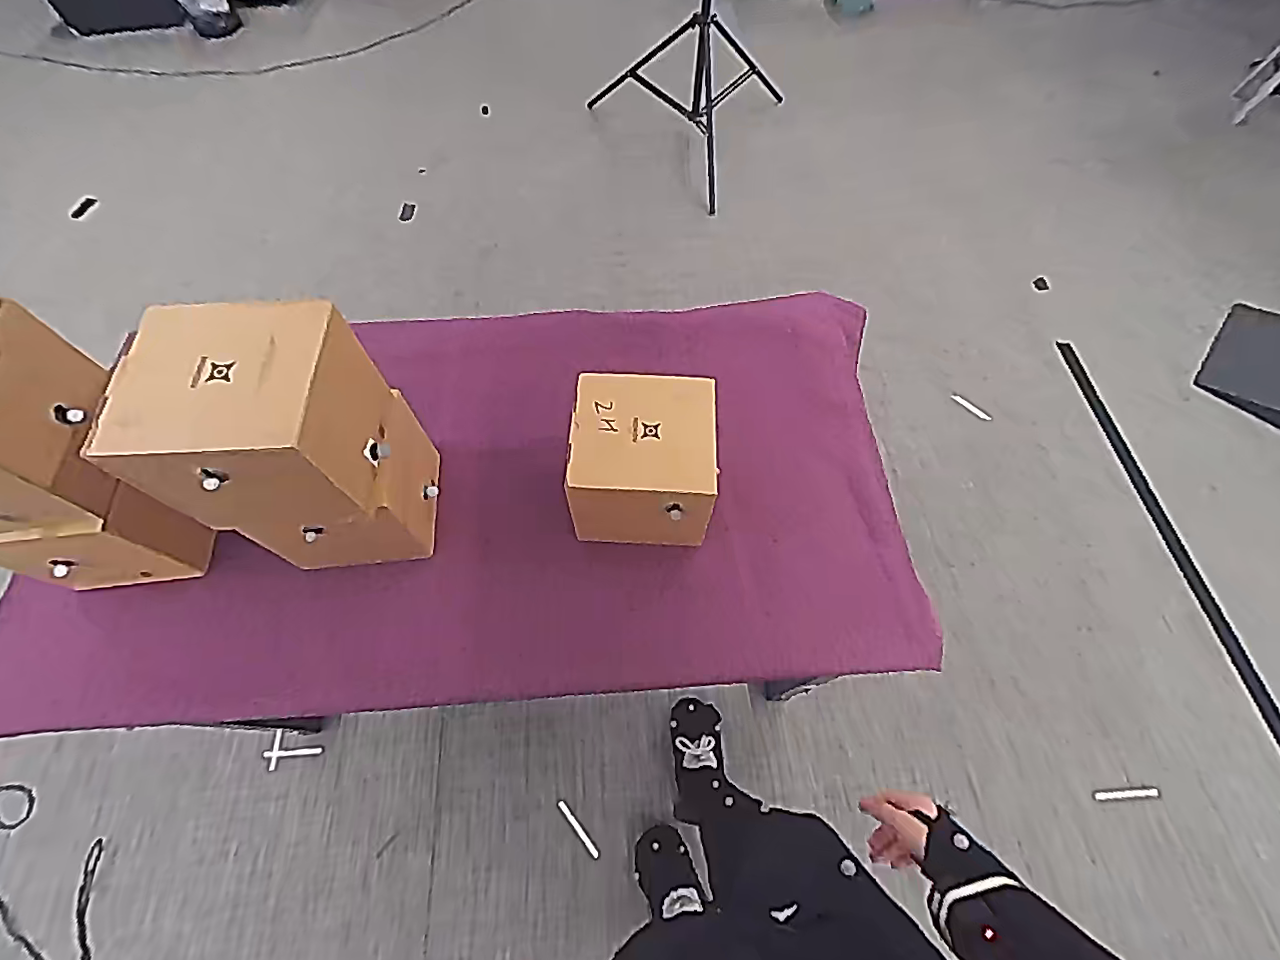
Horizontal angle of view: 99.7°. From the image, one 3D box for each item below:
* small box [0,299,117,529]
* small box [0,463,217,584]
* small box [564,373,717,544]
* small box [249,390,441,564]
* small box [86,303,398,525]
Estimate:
[{"bbox_3d":[-0.677,-0.056,0.549,0.179,0.176,0.168,-8,62,-5],"label":"small box"},{"bbox_3d":[-0.672,0.026,0.691,0.168,0.176,0.179,-6,62,-4],"label":"small box"},{"bbox_3d":[0.004,-0.021,0.719,0.179,0.176,0.168,3,62,1],"label":"small box"},{"bbox_3d":[-0.378,0.003,0.704,0.179,0.176,0.168,-5,63,-4],"label":"small box"},{"bbox_3d":[-0.377,-0.059,0.555,0.179,0.176,0.168,-2,64,-3],"label":"small box"}]
